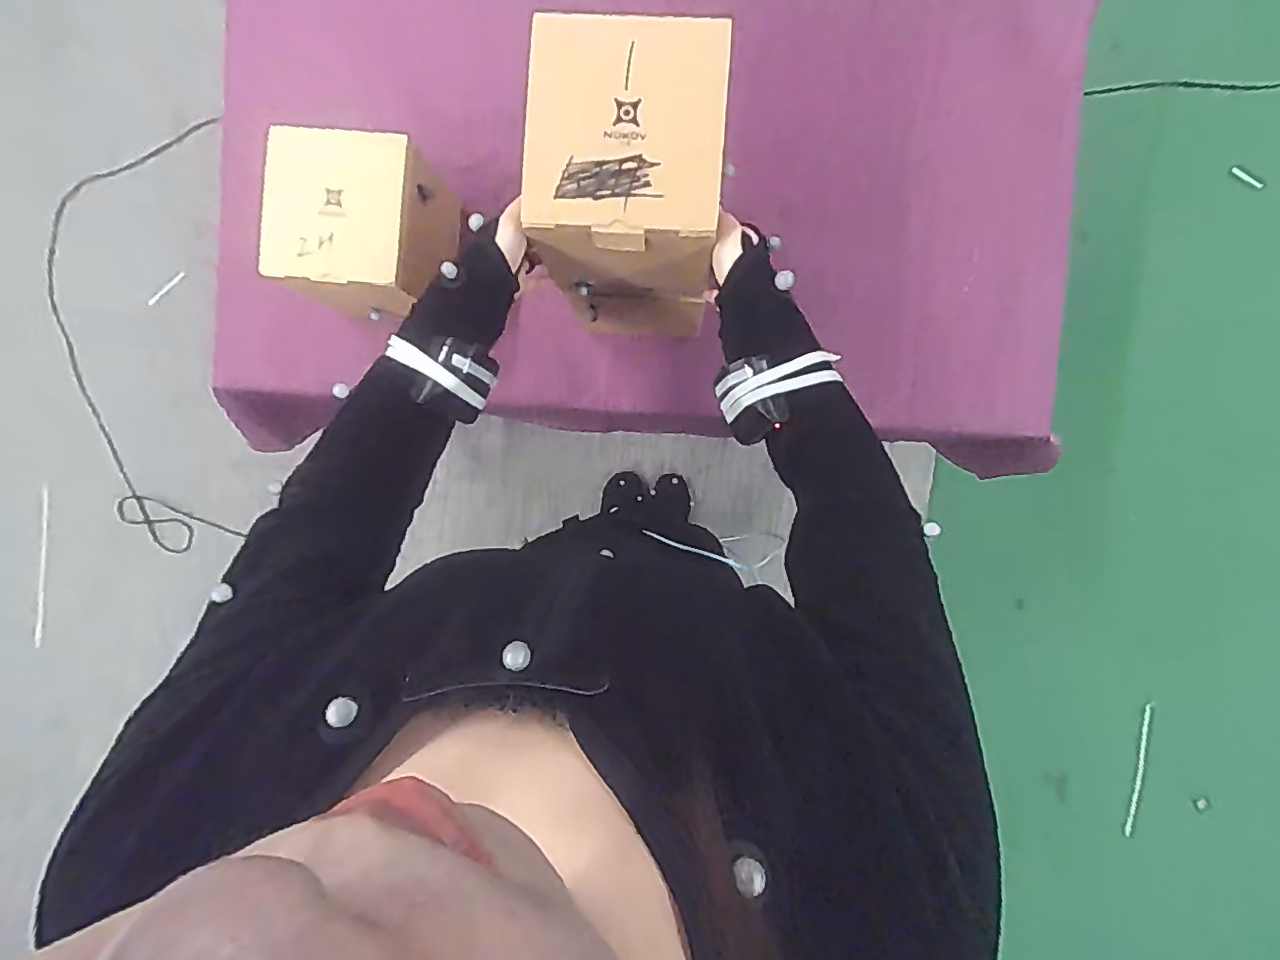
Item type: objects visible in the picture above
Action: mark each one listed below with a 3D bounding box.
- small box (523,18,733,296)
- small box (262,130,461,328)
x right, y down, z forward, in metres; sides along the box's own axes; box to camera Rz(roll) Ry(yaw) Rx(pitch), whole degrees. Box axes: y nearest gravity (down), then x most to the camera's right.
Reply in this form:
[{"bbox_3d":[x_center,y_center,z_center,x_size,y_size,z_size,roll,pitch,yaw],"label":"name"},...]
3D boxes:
[{"bbox_3d":[-0.006,-0.291,0.523,0.168,0.176,0.179,4,90,3],"label":"small box"},{"bbox_3d":[-0.346,-0.313,0.705,0.168,0.176,0.179,6,91,3],"label":"small box"}]
